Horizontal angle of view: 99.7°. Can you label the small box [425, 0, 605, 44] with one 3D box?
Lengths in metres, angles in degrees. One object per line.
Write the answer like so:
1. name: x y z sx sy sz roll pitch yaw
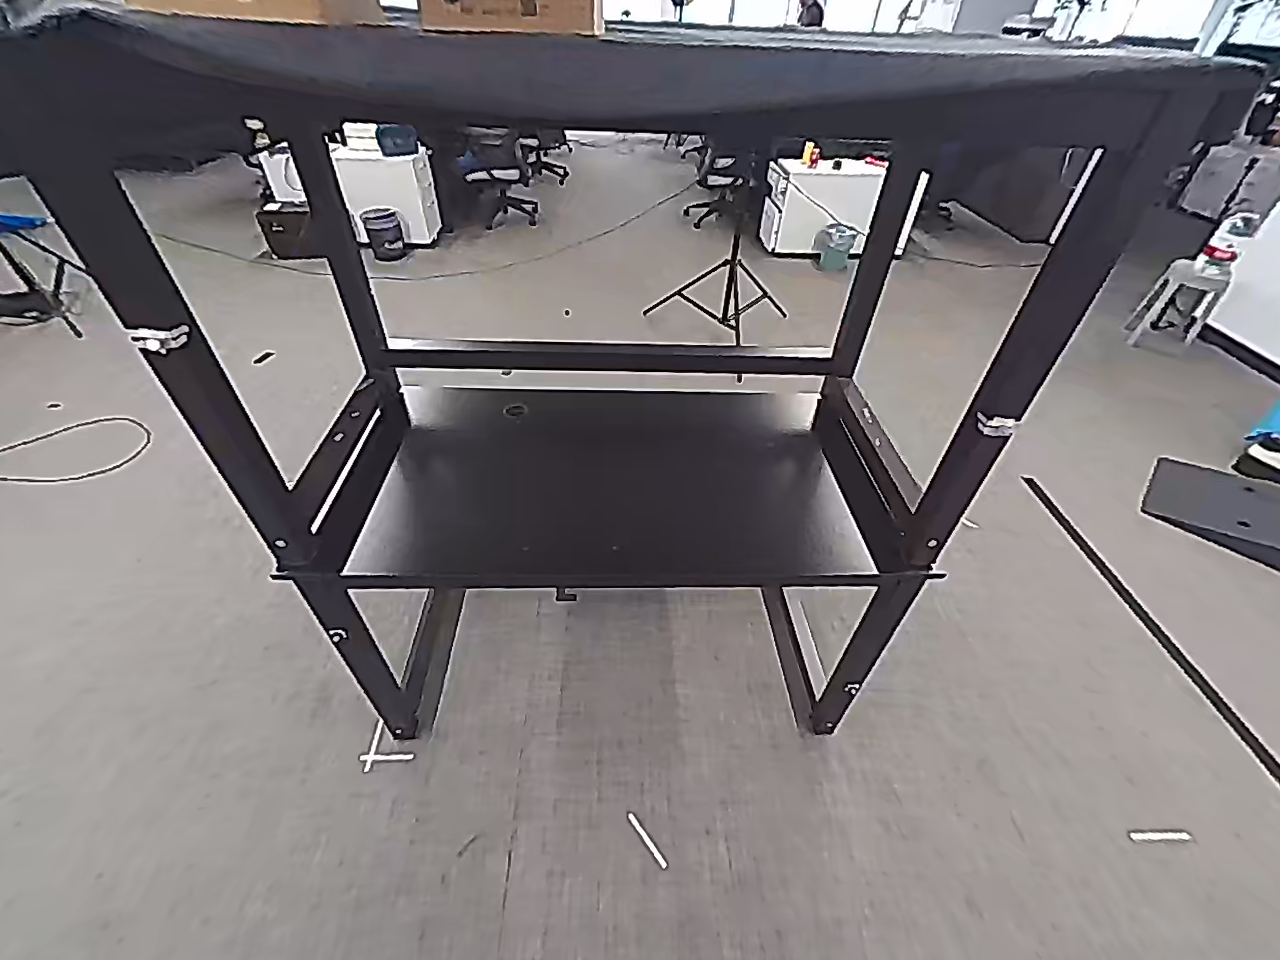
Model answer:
1. small box: -0.119 -0.533 0.524 0.168 0.176 0.179 1 39 -1
